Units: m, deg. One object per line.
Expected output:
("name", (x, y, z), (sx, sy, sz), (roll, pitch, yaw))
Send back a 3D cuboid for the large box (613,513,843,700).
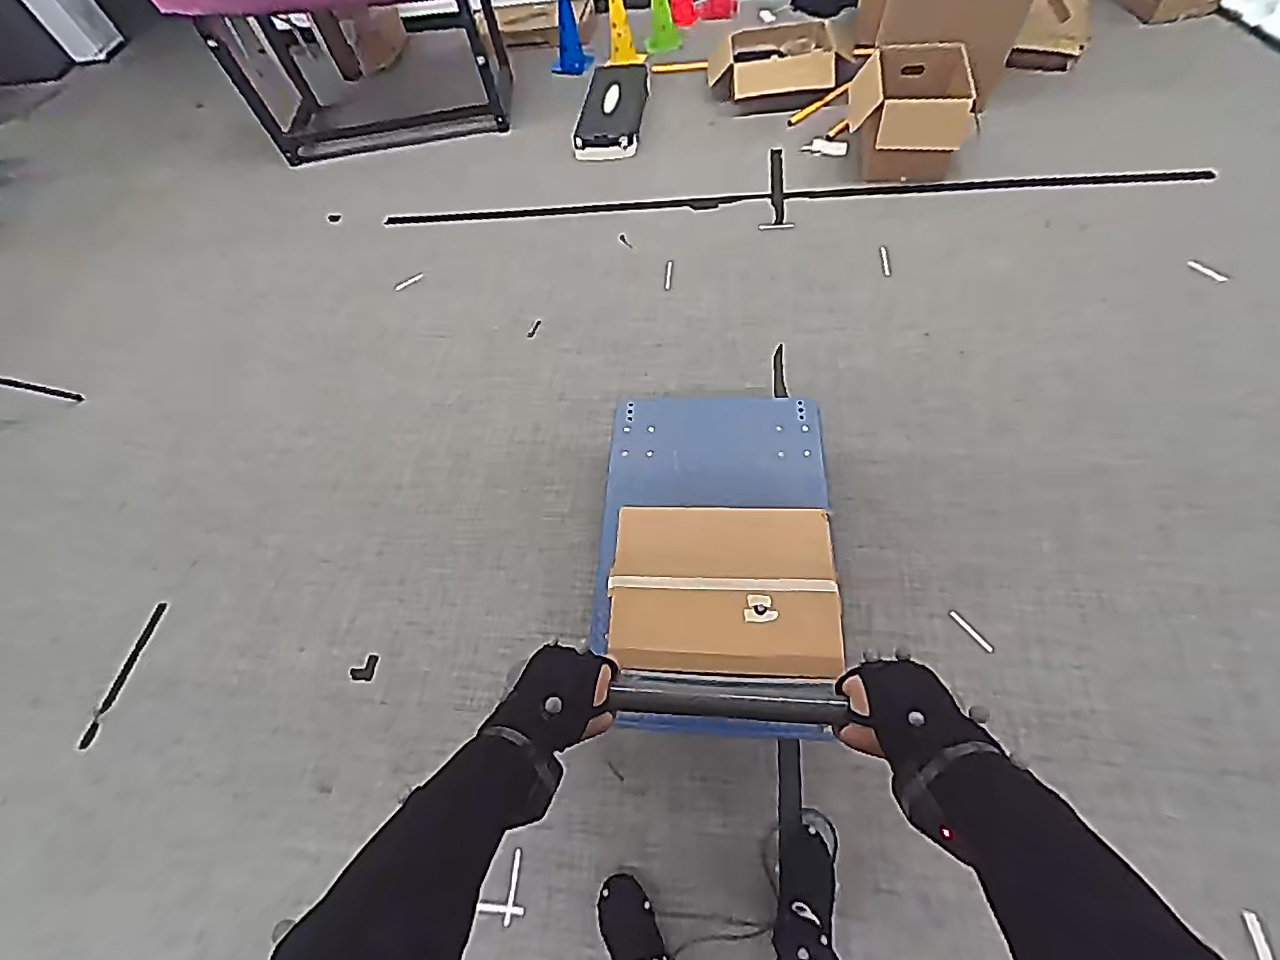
("large box", (0.166, 0.273, 1.132), (0.408, 0.320, 0.320), (0, 62, 6))
